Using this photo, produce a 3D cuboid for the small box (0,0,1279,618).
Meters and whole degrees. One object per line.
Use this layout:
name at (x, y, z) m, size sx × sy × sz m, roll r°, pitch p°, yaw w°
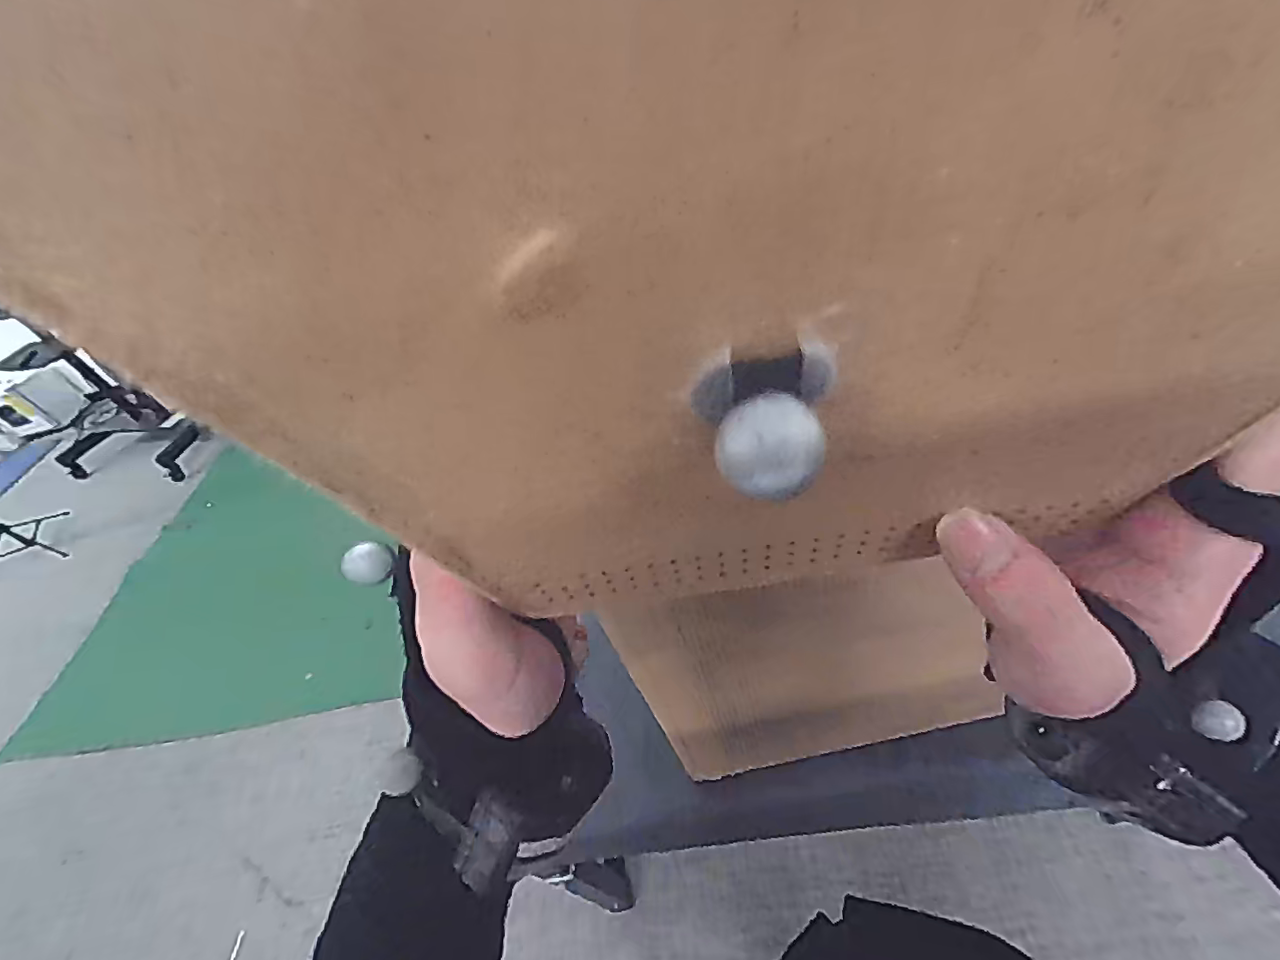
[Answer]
small box at (0.028, -0.074, 0.130) m, size 0.179 × 0.176 × 0.168 m, roll -11°, pitch 63°, yaw 5°
